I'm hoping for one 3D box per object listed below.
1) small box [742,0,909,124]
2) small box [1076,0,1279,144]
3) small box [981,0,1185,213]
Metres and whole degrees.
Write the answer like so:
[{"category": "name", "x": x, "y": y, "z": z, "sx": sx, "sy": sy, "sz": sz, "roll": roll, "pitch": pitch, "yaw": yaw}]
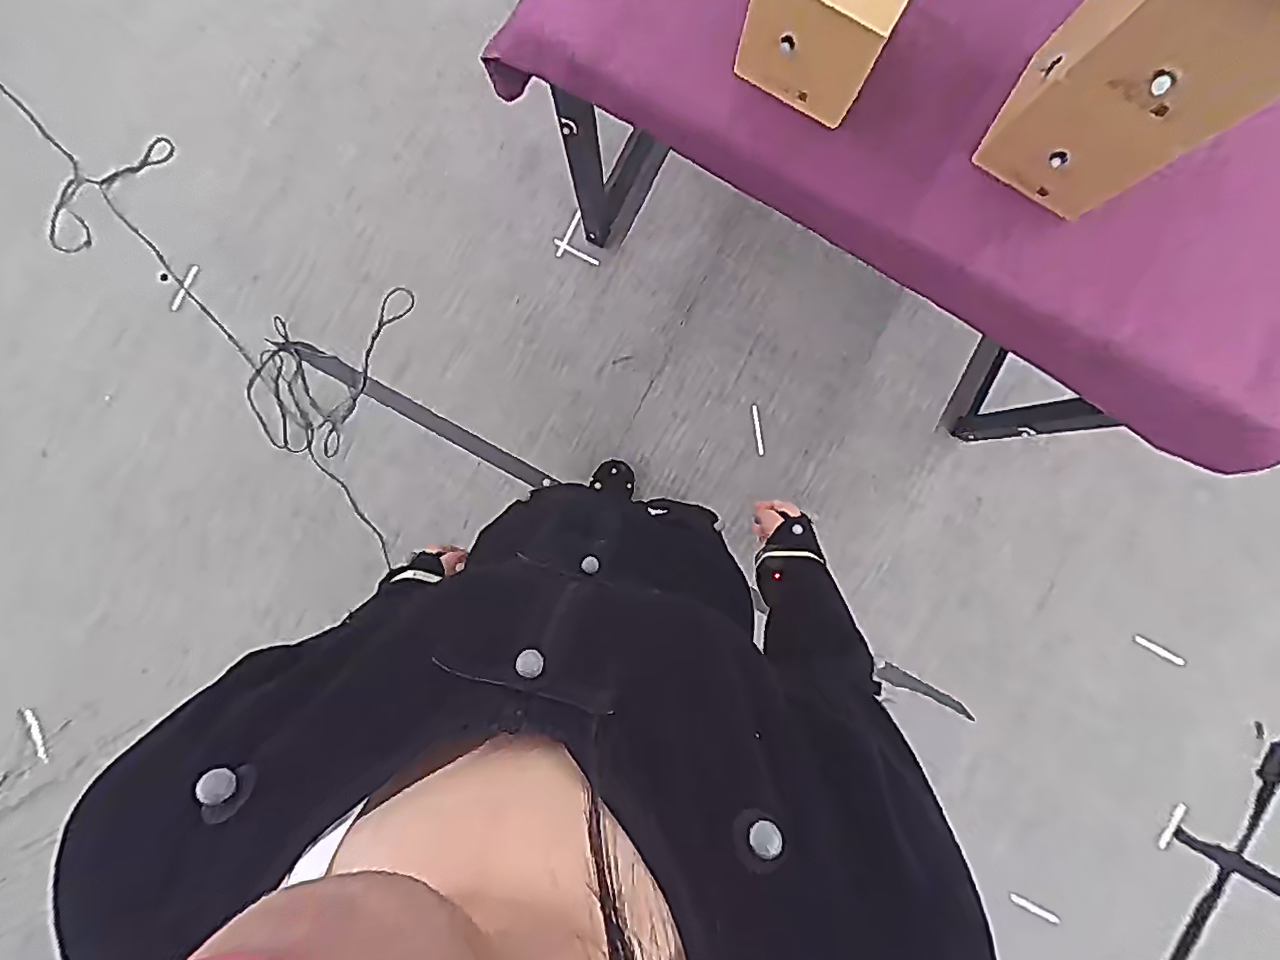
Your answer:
[{"category": "small box", "x": 0.243, "y": -0.603, "z": 0.678, "sx": 0.168, "sy": 0.176, "sz": 0.179, "roll": 29, "pitch": 89, "yaw": -1}, {"category": "small box", "x": 0.581, "y": -0.478, "z": 0.515, "sx": 0.168, "sy": 0.176, "sz": 0.179, "roll": 31, "pitch": 91, "yaw": 0}, {"category": "small box", "x": 0.576, "y": -0.479, "z": 0.680, "sx": 0.168, "sy": 0.176, "sz": 0.179, "roll": 31, "pitch": 90, "yaw": -1}]
